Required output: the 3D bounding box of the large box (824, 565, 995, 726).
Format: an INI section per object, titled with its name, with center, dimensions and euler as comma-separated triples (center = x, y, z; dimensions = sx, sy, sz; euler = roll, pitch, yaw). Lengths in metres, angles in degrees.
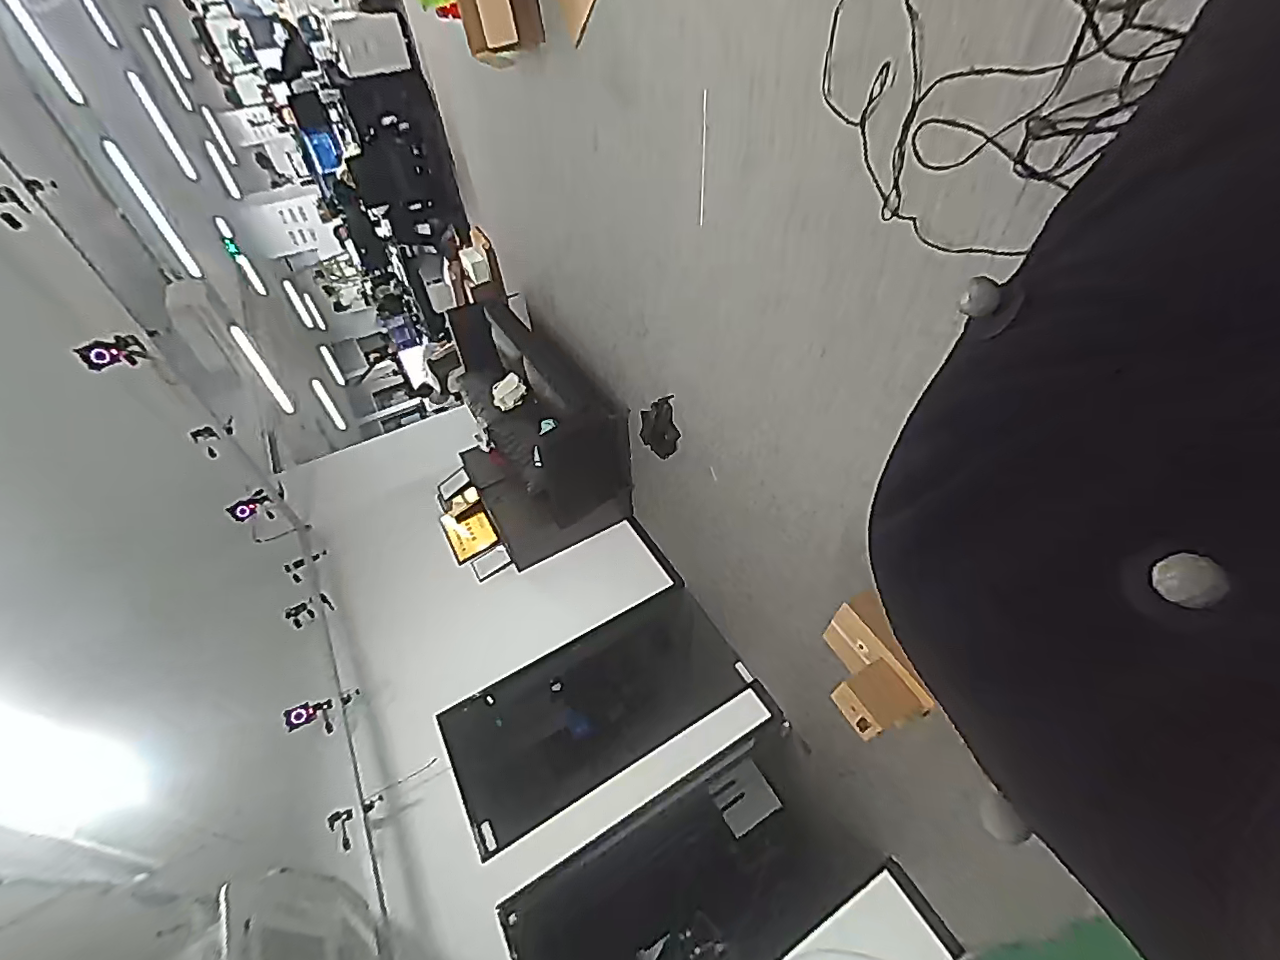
[large box]
center = 0.948, 0.590, 1.947
dimensions = 0.408, 0.320, 0.320
euler = 54, 158, 32
